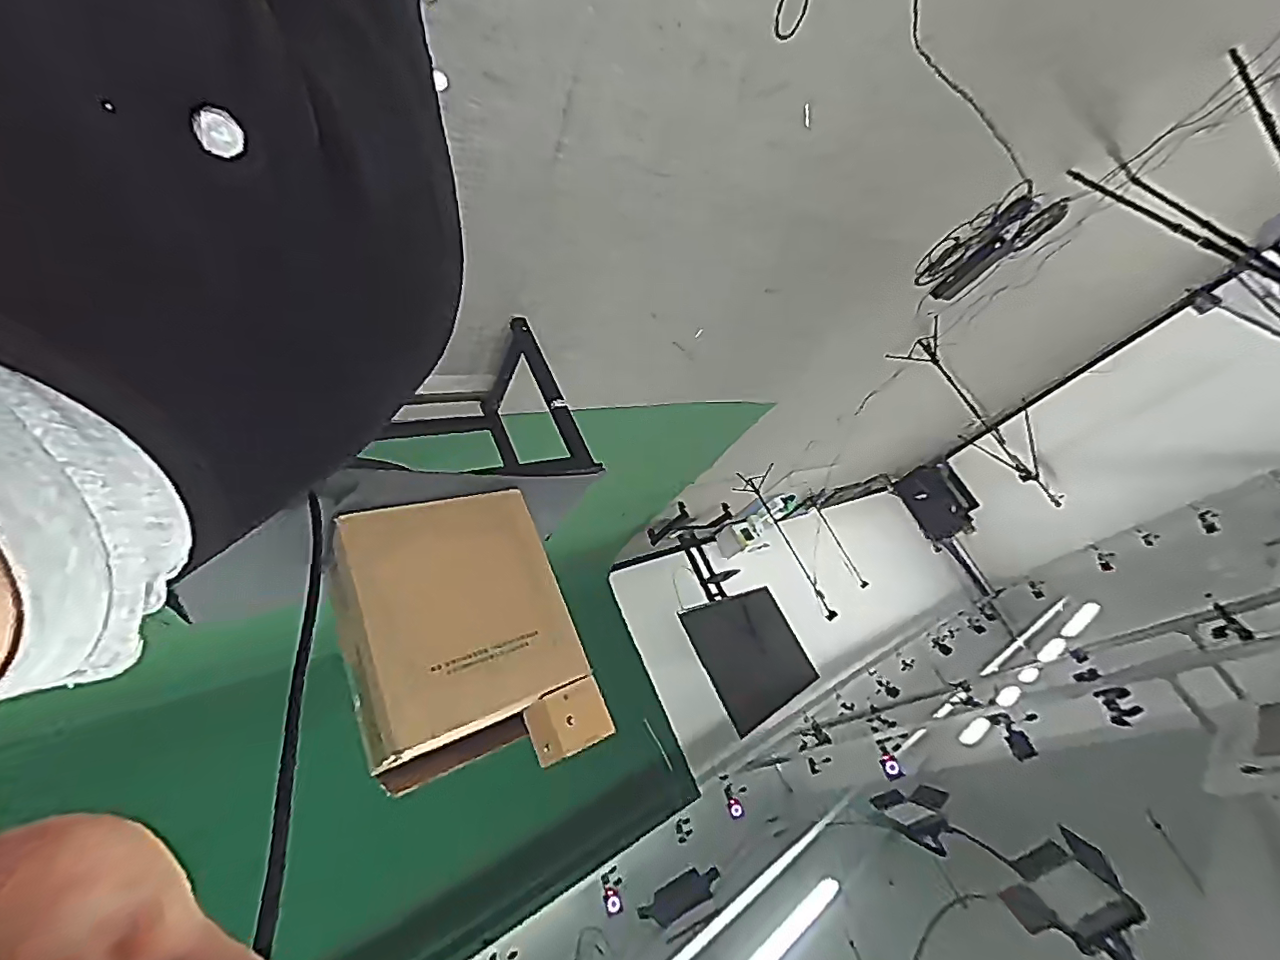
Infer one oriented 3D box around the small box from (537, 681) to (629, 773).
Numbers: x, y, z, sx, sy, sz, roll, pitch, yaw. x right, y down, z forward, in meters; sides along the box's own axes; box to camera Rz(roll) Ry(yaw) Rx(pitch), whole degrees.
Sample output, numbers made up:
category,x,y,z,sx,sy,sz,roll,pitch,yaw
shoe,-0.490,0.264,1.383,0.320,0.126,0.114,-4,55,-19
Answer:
category,x,y,z,sx,sy,sz,roll,pitch,yaw
small box,-0.167,0.689,1.521,0.168,0.176,0.179,-10,154,-40
